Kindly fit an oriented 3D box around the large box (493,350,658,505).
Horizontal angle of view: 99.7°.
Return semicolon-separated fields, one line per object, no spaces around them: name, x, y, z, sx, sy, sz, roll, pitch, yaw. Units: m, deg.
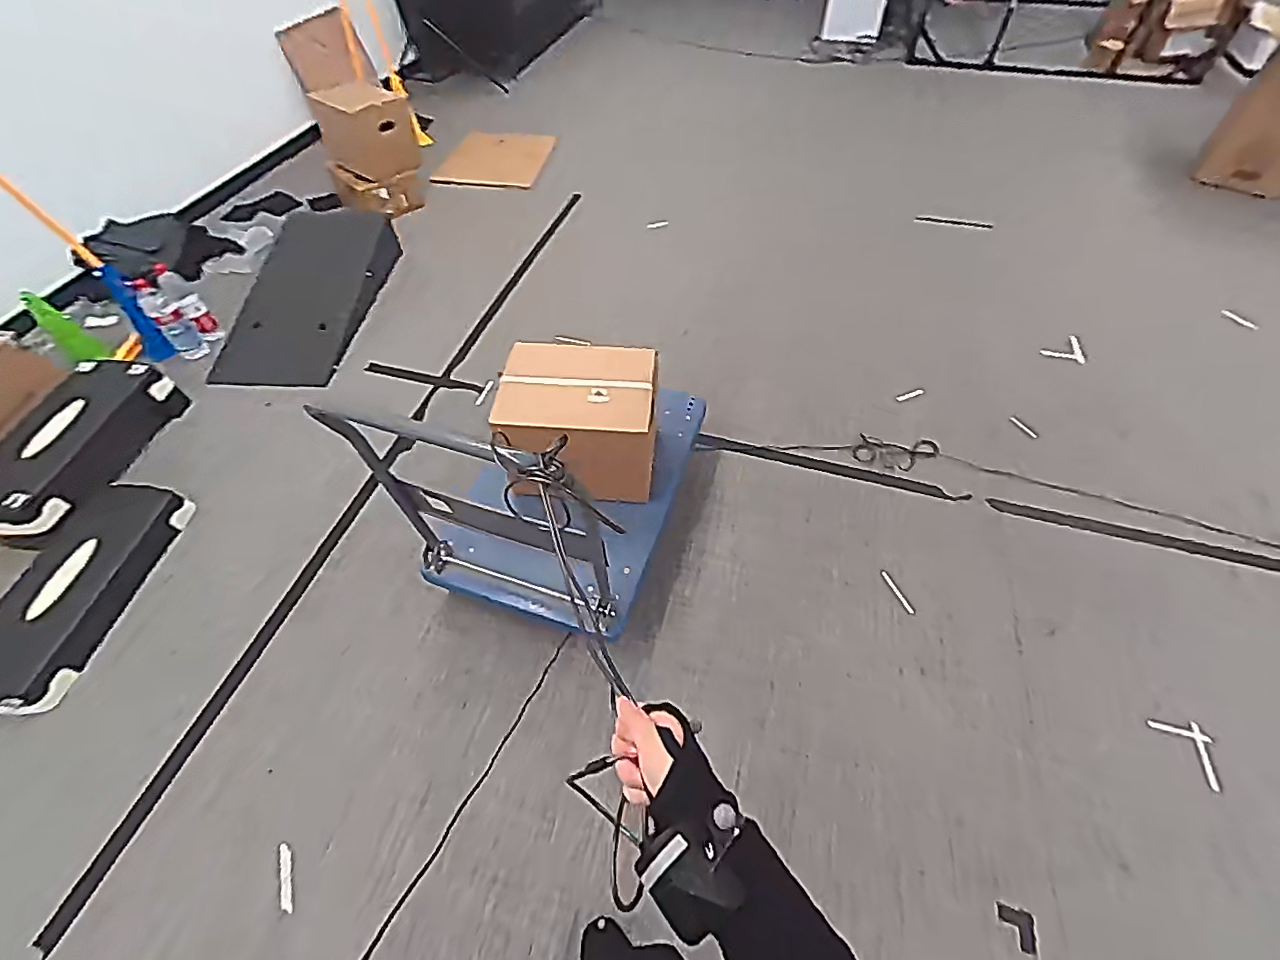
large box;-0.161;-0.145;1.542;0.408;0.320;0.320;4;54;3
